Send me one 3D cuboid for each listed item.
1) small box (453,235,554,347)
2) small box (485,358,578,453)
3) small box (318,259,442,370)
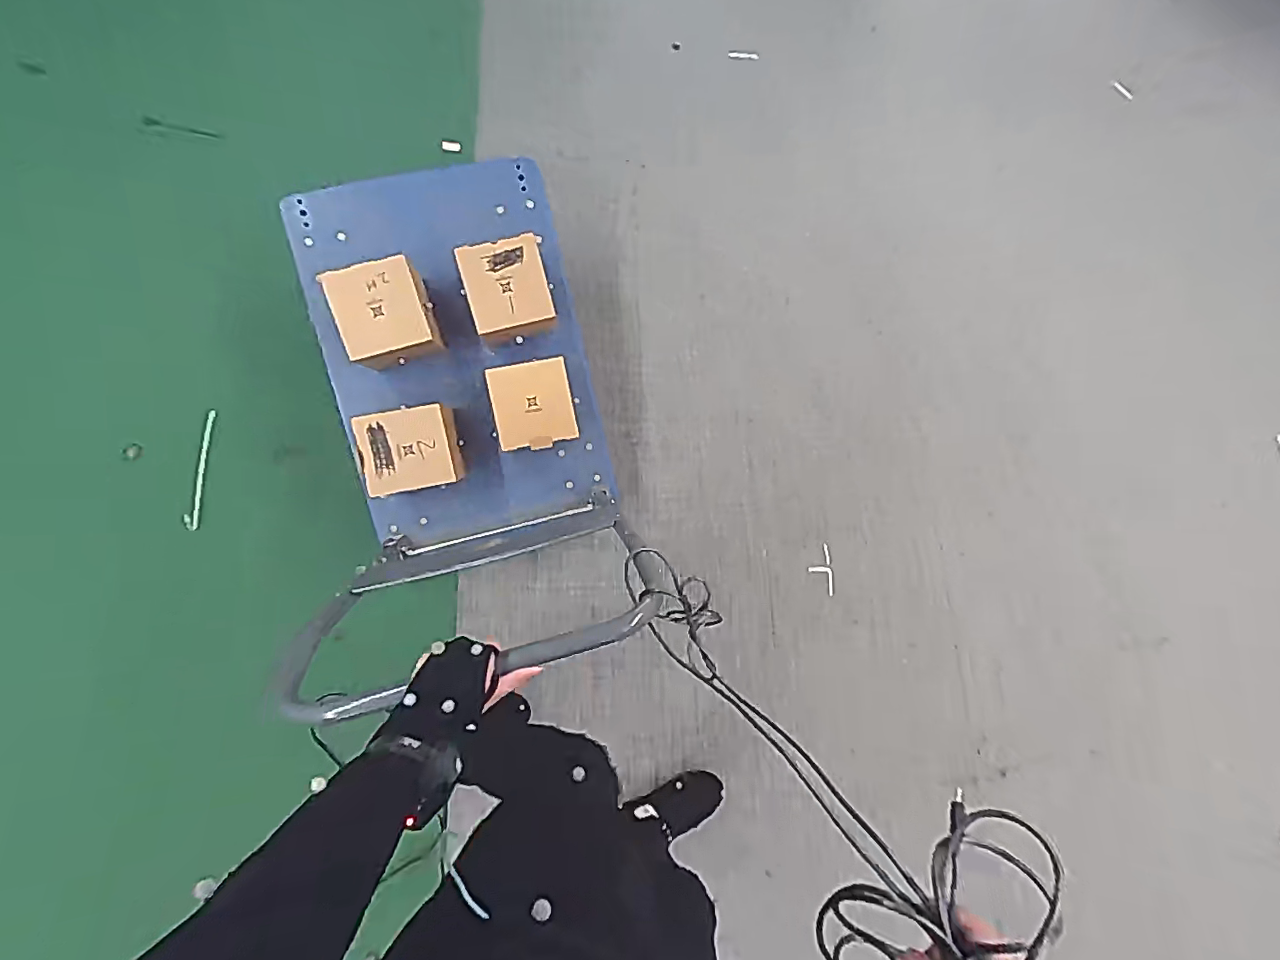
[{"bbox_3d":[-0.292,-0.404,1.181,0.168,0.176,0.179,-16,98,-7],"label":"small box"},{"bbox_3d":[-0.240,-0.163,1.212,0.168,0.176,0.179,-13,97,-8],"label":"small box"},{"bbox_3d":[-0.537,-0.339,1.145,0.168,0.176,0.179,-19,98,-8],"label":"small box"}]
